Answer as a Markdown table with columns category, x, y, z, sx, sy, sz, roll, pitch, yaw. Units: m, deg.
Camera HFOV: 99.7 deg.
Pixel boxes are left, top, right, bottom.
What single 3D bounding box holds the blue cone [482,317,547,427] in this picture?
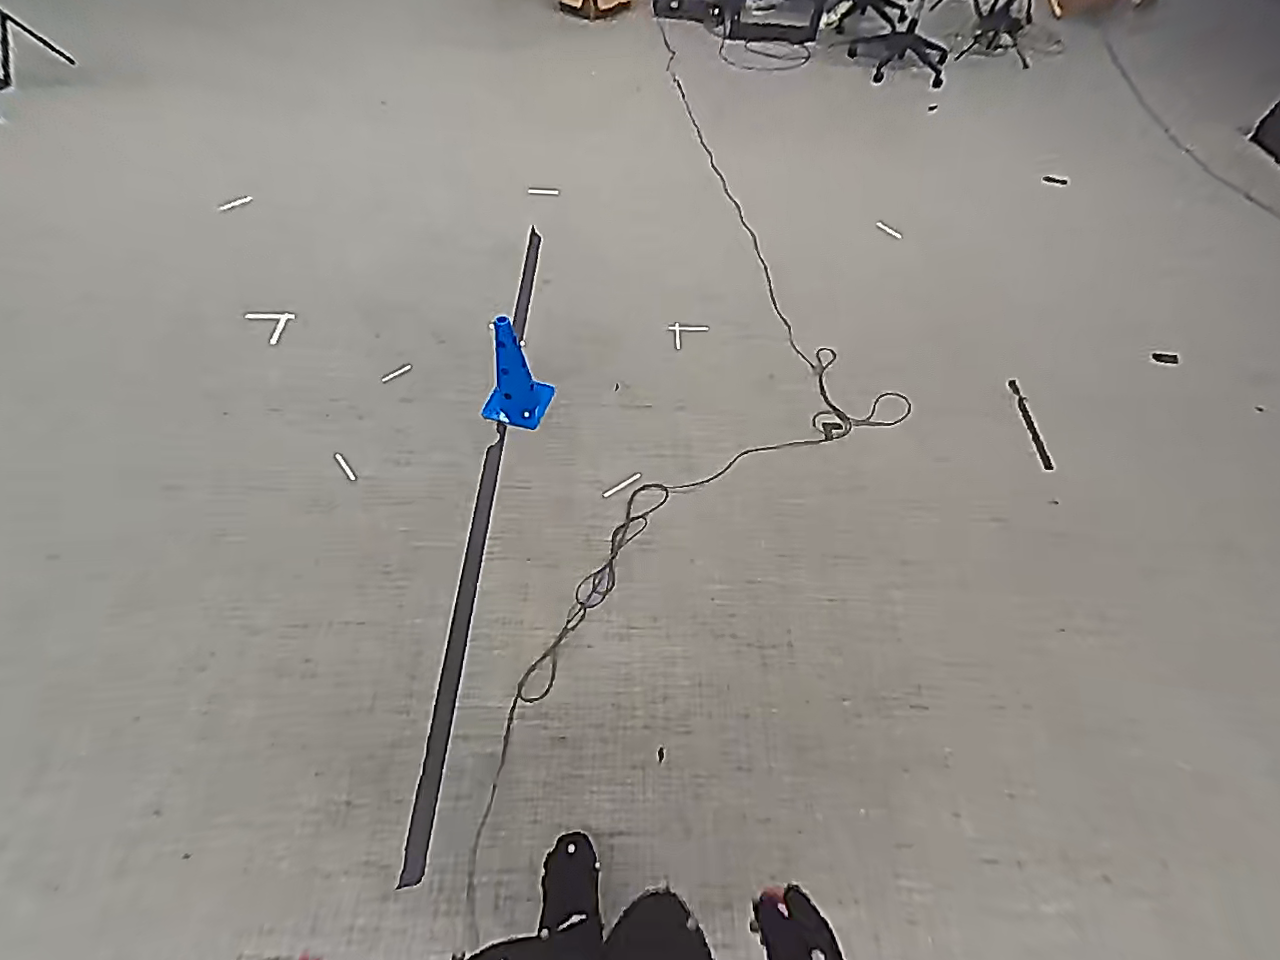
| category | x | y | z | sx | sy | sz | roll | pitch | yaw |
| --- | --- | --- | --- | --- | --- | --- | --- | --- | --- |
| blue cone | -0.419 | -0.353 | 1.708 | 0.192 | 0.380 | 0.193 | 16 | 58 | 7 |
